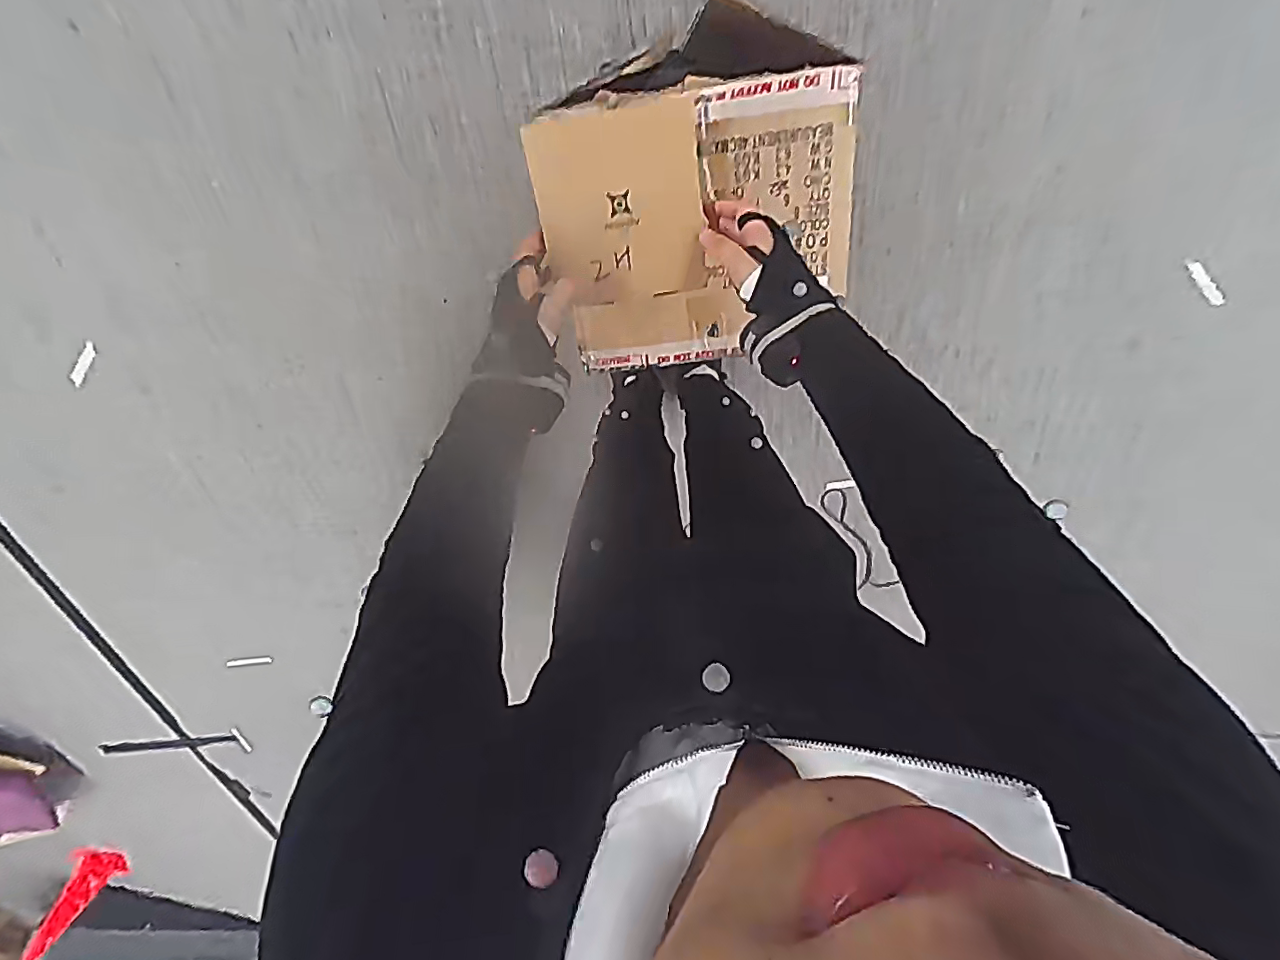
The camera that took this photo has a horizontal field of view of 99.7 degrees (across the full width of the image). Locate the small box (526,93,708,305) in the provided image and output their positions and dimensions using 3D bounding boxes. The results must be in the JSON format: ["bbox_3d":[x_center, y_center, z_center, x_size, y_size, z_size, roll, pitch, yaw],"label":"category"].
[{"bbox_3d":[-0.018,-0.319,0.617,0.168,0.176,0.179,-7,124,5],"label":"small box"}]
